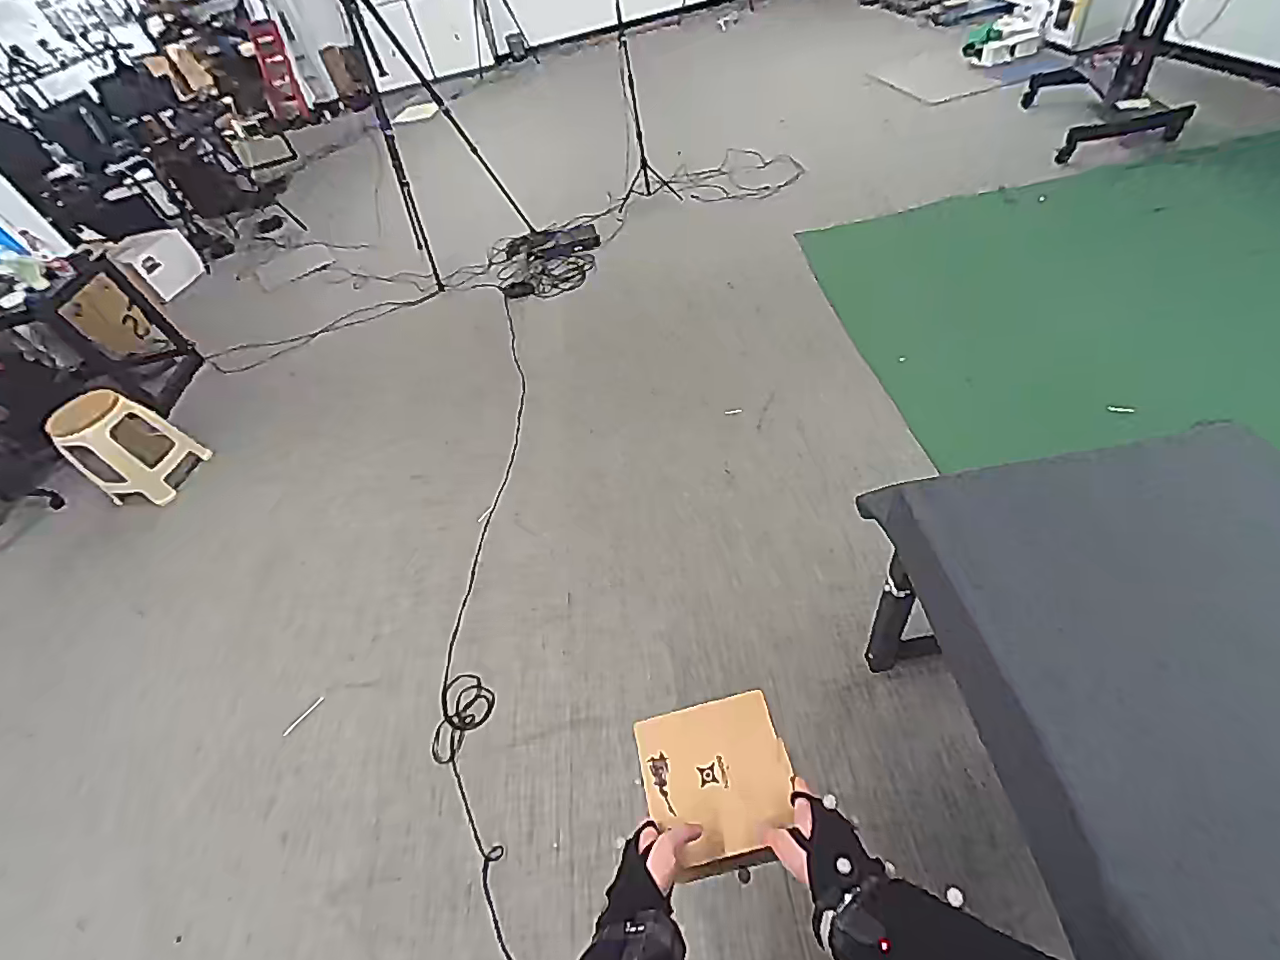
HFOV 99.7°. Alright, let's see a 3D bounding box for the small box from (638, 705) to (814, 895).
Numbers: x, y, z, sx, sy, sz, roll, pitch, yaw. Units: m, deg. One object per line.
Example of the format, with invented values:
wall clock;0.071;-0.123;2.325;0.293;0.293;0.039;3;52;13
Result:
small box;0.106;0.418;0.702;0.179;0.176;0.168;-15;48;1
